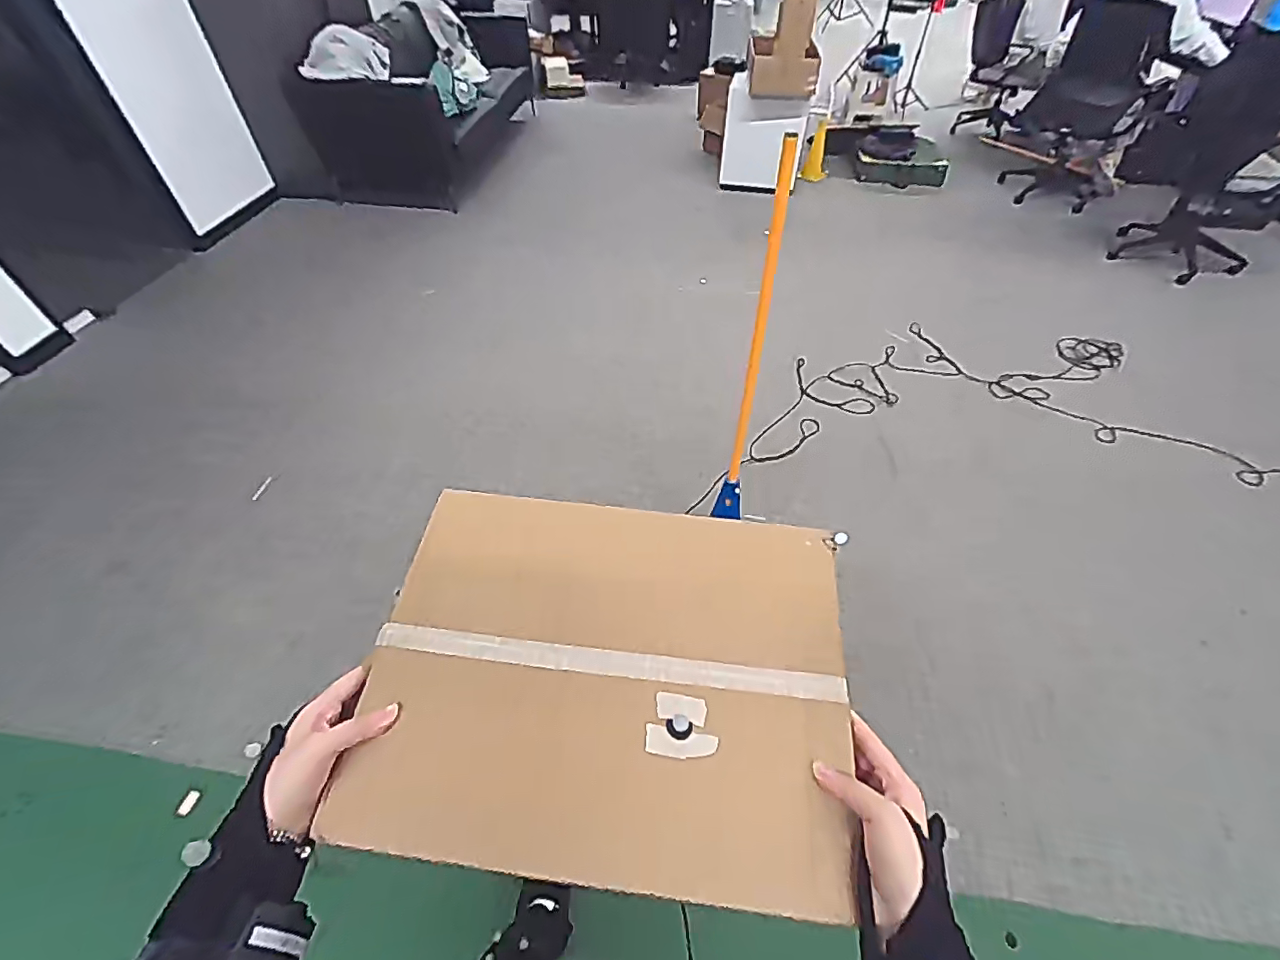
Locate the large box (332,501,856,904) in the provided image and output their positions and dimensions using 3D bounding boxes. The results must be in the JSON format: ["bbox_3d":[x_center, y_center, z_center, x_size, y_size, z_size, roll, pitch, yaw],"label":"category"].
[{"bbox_3d":[-0.027,0.249,0.606,0.408,0.320,0.320,6,56,3],"label":"large box"}]
